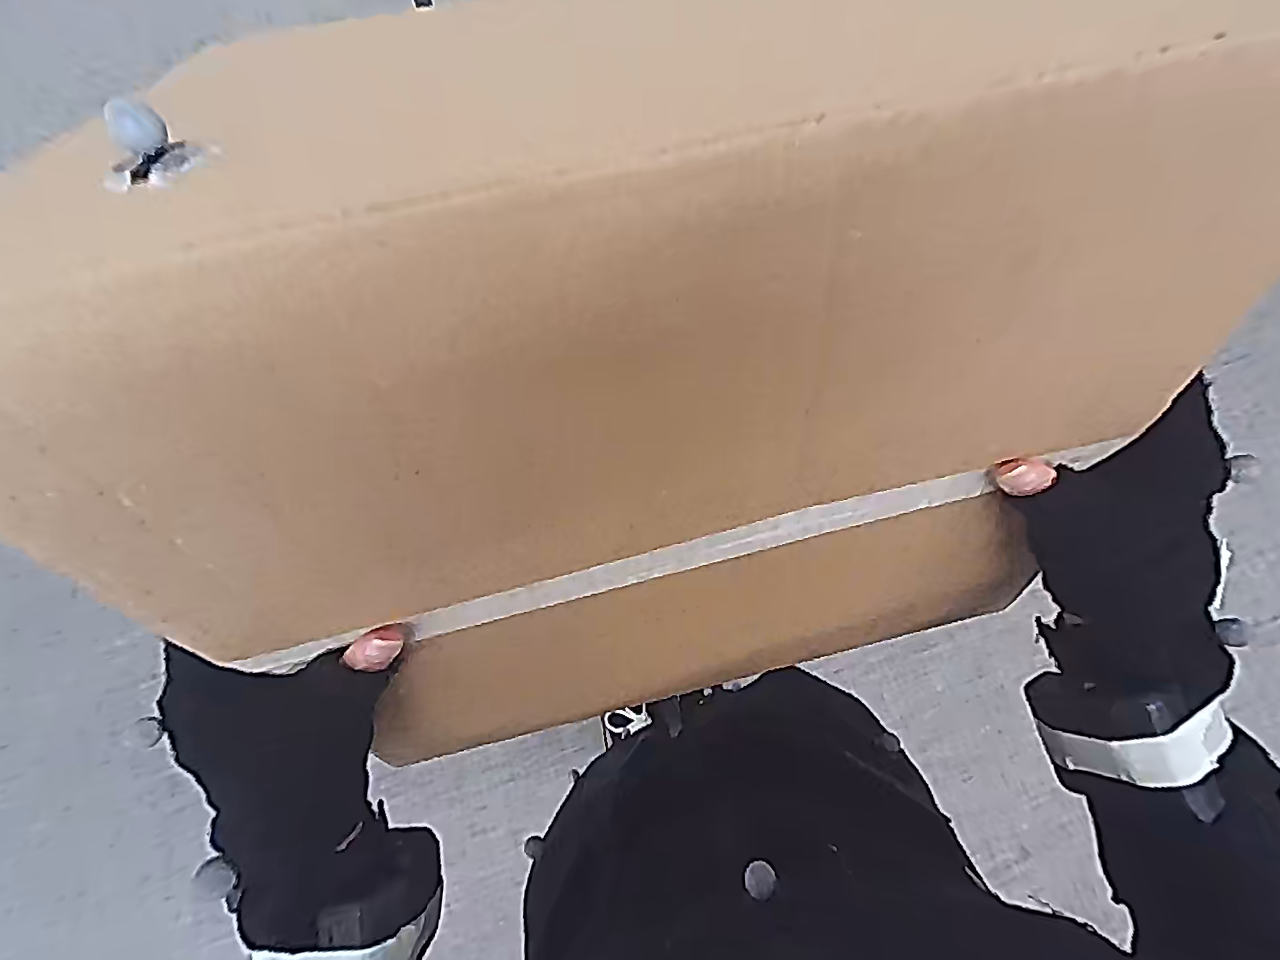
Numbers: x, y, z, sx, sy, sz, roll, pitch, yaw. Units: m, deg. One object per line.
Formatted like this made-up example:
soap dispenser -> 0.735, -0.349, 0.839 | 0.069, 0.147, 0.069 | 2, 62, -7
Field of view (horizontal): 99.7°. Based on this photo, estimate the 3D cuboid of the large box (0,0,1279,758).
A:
large box -> -0.002, -0.077, 0.344 | 0.408, 0.320, 0.320 | -14, 48, -4
